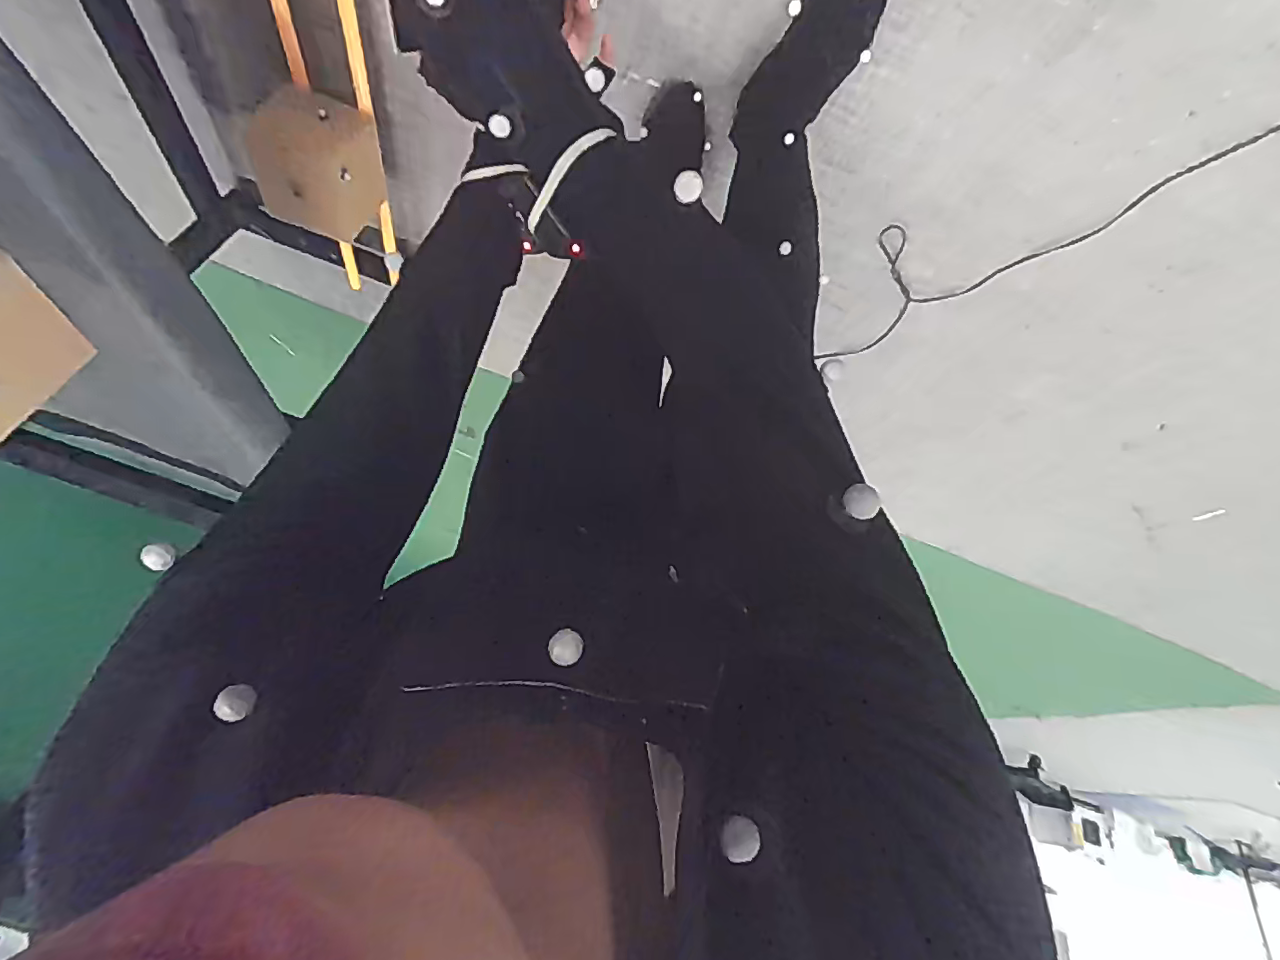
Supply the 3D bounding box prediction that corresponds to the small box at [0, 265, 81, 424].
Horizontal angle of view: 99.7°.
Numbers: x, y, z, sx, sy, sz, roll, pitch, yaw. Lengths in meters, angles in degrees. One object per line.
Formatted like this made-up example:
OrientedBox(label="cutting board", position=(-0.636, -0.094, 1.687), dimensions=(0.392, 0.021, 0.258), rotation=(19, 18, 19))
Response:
OrientedBox(label="small box", position=(-0.803, -0.169, 0.597), dimensions=(0.168, 0.176, 0.179), rotation=(22, 151, -8))
